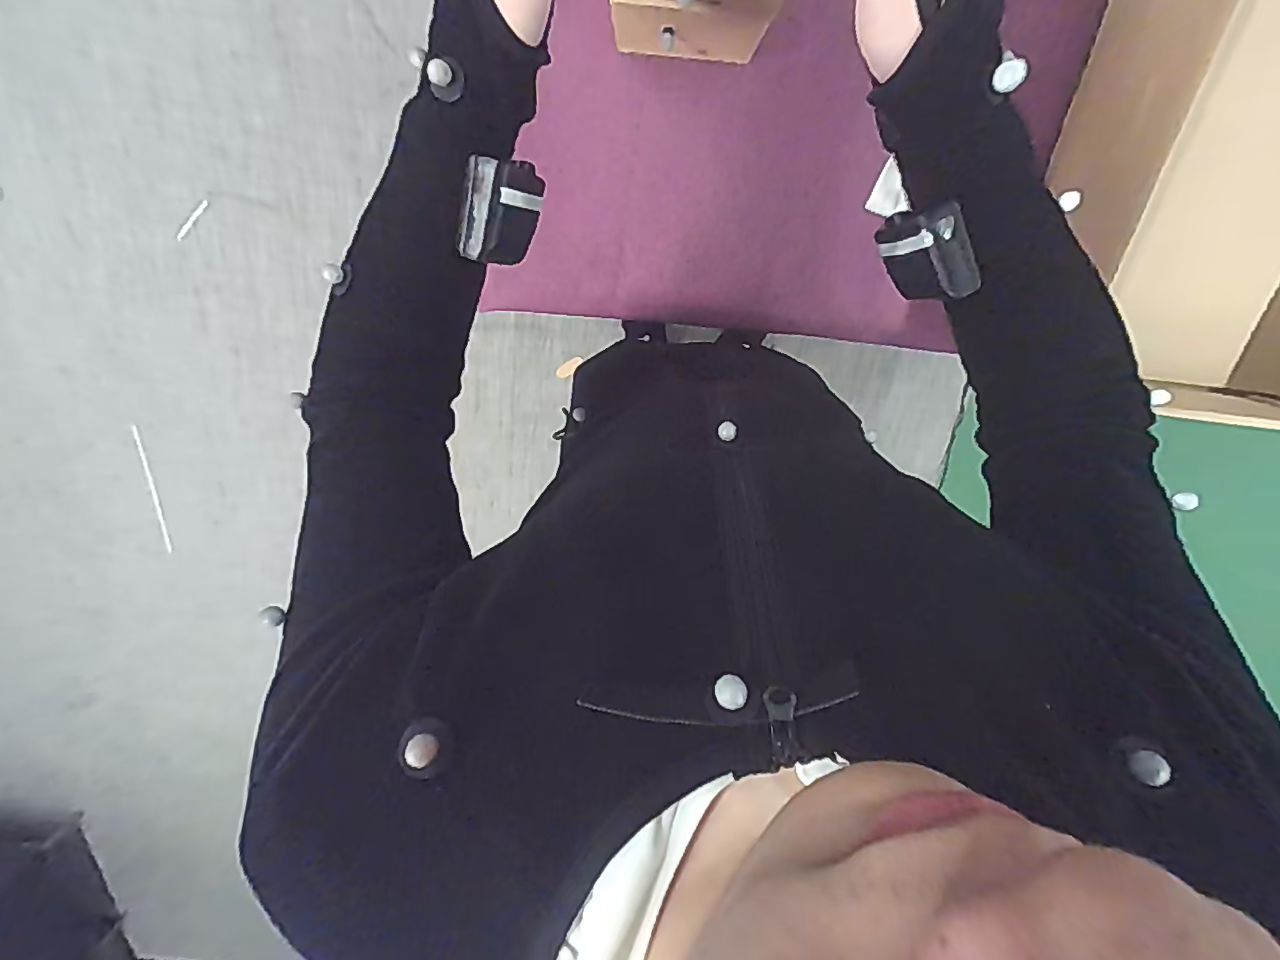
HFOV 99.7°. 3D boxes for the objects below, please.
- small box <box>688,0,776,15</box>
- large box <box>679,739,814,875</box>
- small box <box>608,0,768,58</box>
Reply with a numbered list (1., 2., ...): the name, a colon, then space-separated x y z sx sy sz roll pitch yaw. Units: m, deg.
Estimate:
1. small box: 0.061 -0.513 0.419 0.168 0.176 0.179 9 114 -2
2. large box: 0.398 1.286 2.100 0.408 0.320 0.320 -24 112 11
3. small box: 0.059 -0.578 0.571 0.168 0.176 0.179 5 113 0
